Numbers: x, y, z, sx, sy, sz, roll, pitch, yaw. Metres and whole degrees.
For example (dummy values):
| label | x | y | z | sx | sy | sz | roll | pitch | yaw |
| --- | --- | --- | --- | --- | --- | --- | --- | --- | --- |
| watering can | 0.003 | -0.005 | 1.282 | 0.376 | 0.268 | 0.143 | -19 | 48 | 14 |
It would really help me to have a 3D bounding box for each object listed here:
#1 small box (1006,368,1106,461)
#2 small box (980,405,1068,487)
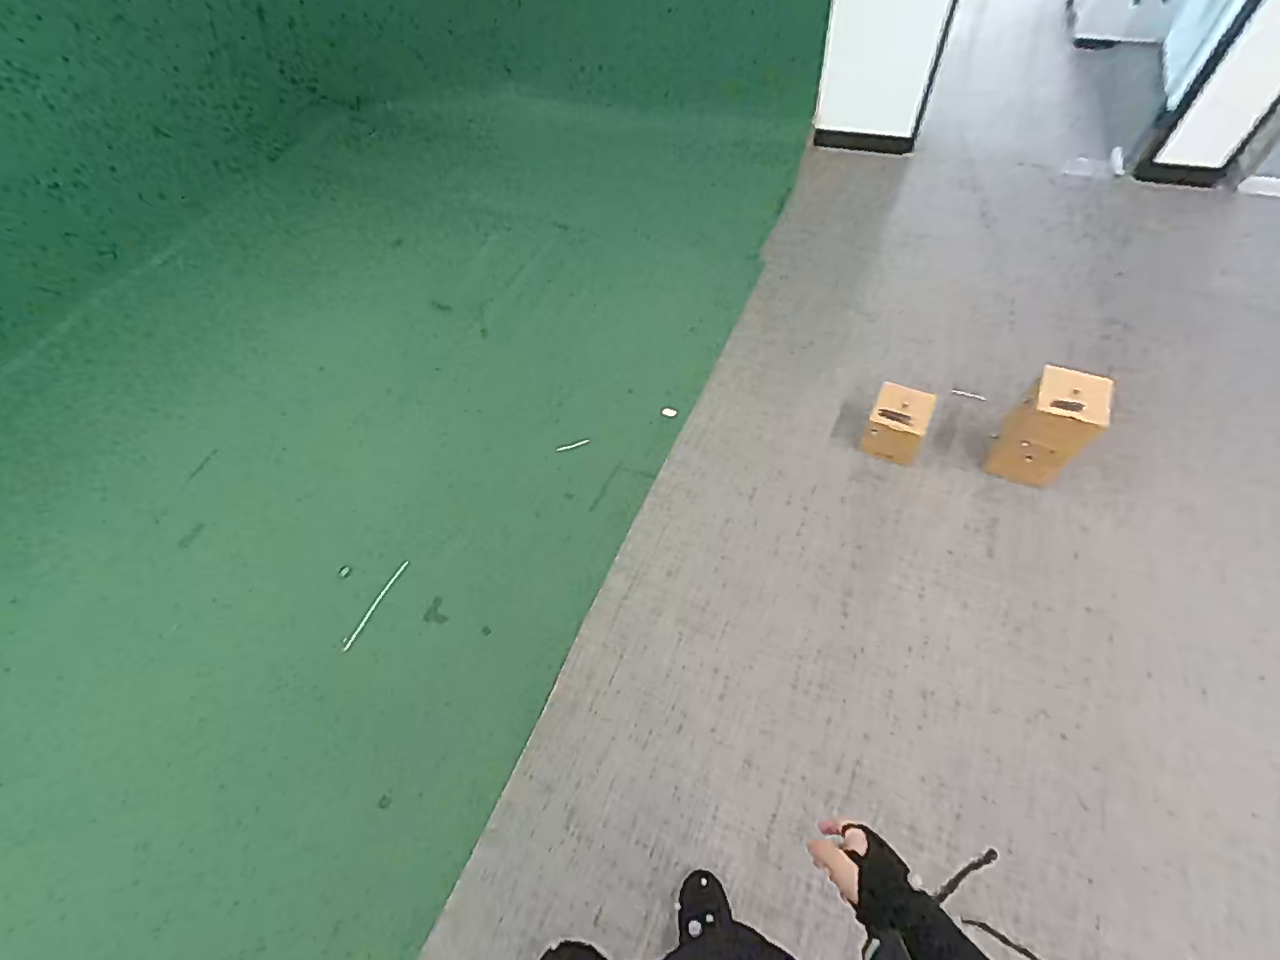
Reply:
| label | x | y | z | sx | sy | sz | roll | pitch | yaw |
| --- | --- | --- | --- | --- | --- | --- | --- | --- | --- |
| small box | 1.168 | -0.182 | 1.530 | 0.168 | 0.176 | 0.179 | 20 | 63 | 19 |
| small box | 1.187 | -0.100 | 1.671 | 0.179 | 0.176 | 0.168 | 19 | 63 | 18 |
